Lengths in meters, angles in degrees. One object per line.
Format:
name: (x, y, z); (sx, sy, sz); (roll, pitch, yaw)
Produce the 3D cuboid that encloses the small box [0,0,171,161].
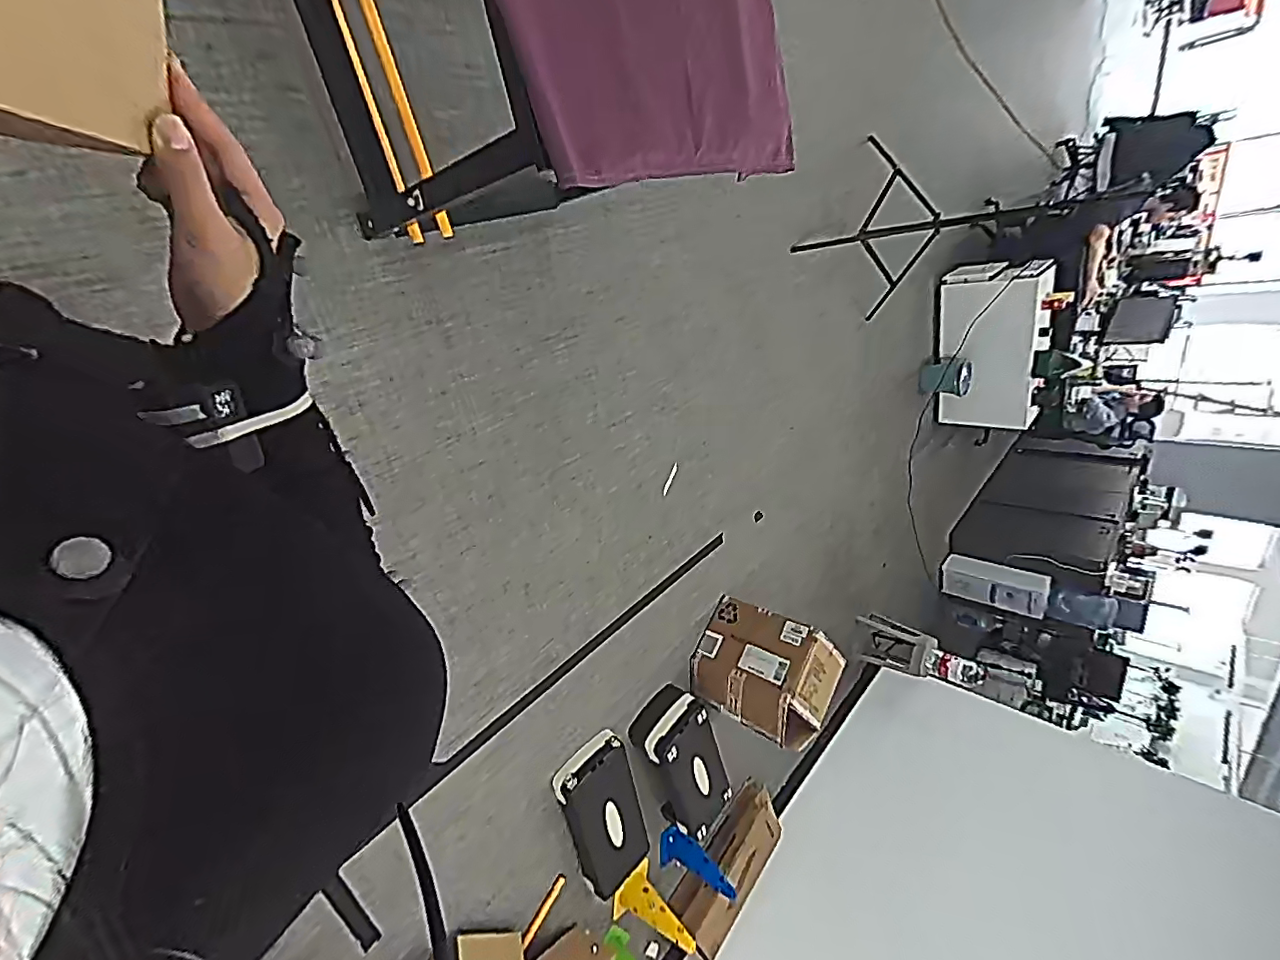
small box: (-0.318, -0.239, 0.186); (0.168, 0.179, 0.176); (-86, -174, -72)
